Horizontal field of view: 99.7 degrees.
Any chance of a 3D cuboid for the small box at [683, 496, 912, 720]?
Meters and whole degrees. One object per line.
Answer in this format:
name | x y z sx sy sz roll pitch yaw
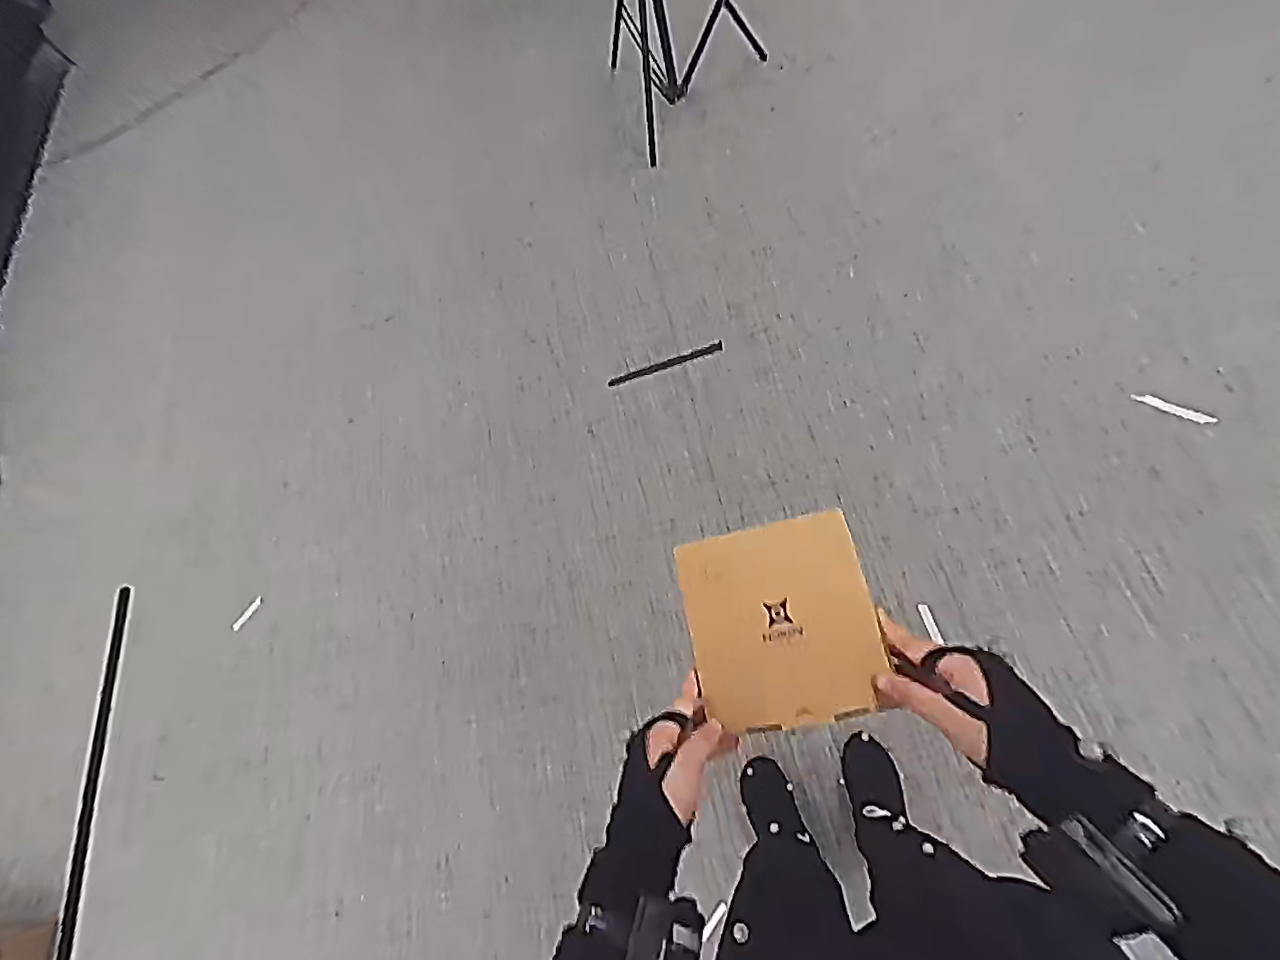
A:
small box | 0.148 0.138 0.559 0.168 0.176 0.179 -14 68 8
